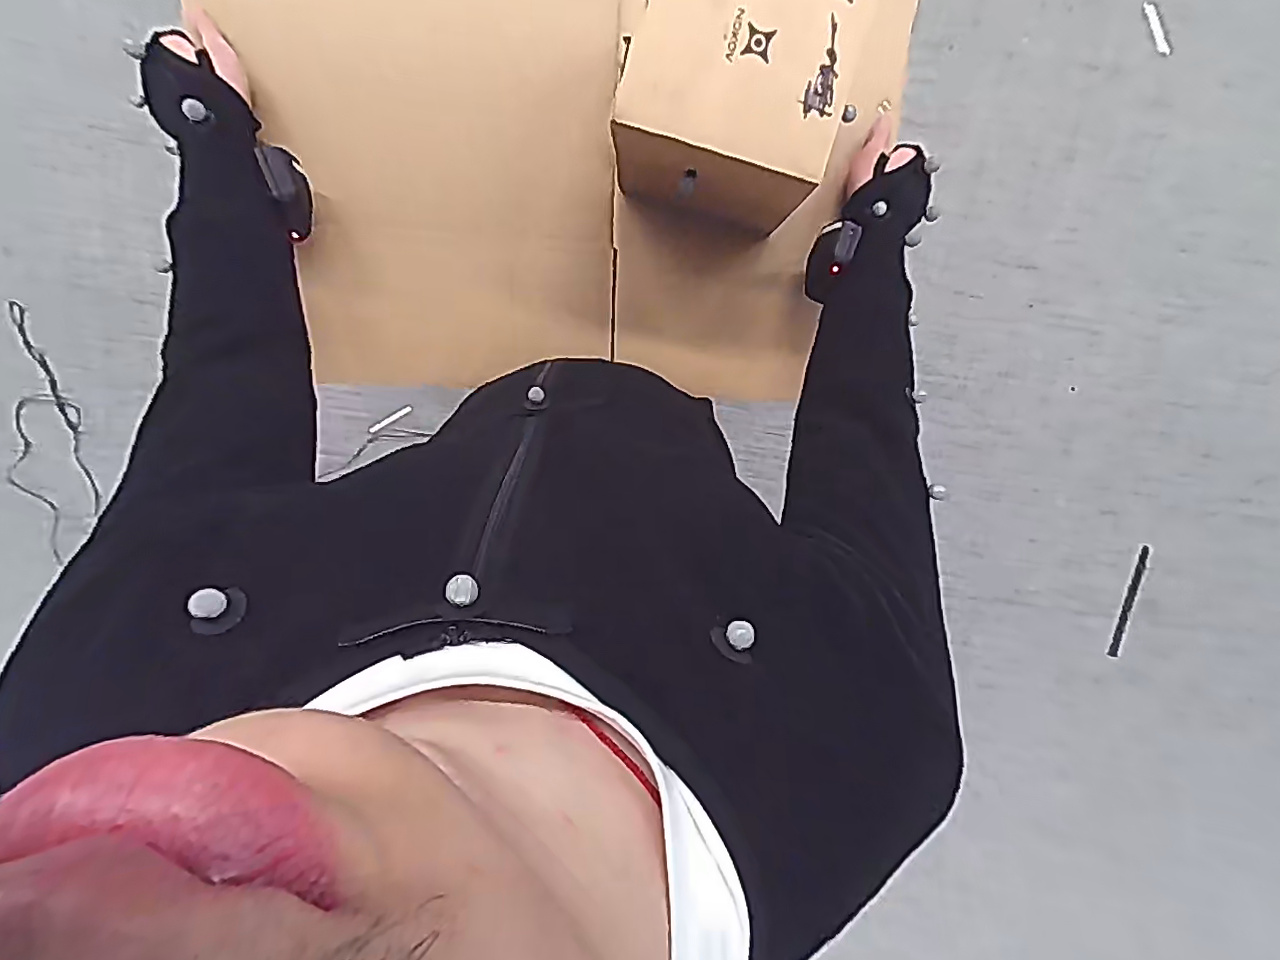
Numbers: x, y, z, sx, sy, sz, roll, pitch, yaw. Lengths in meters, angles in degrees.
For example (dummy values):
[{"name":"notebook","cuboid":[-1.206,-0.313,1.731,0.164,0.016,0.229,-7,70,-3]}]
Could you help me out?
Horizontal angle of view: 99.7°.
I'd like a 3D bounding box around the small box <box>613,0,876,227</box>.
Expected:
[{"name":"small box","cuboid":[0.085,-0.354,0.496,0.179,0.176,0.168,15,102,-2]}]
